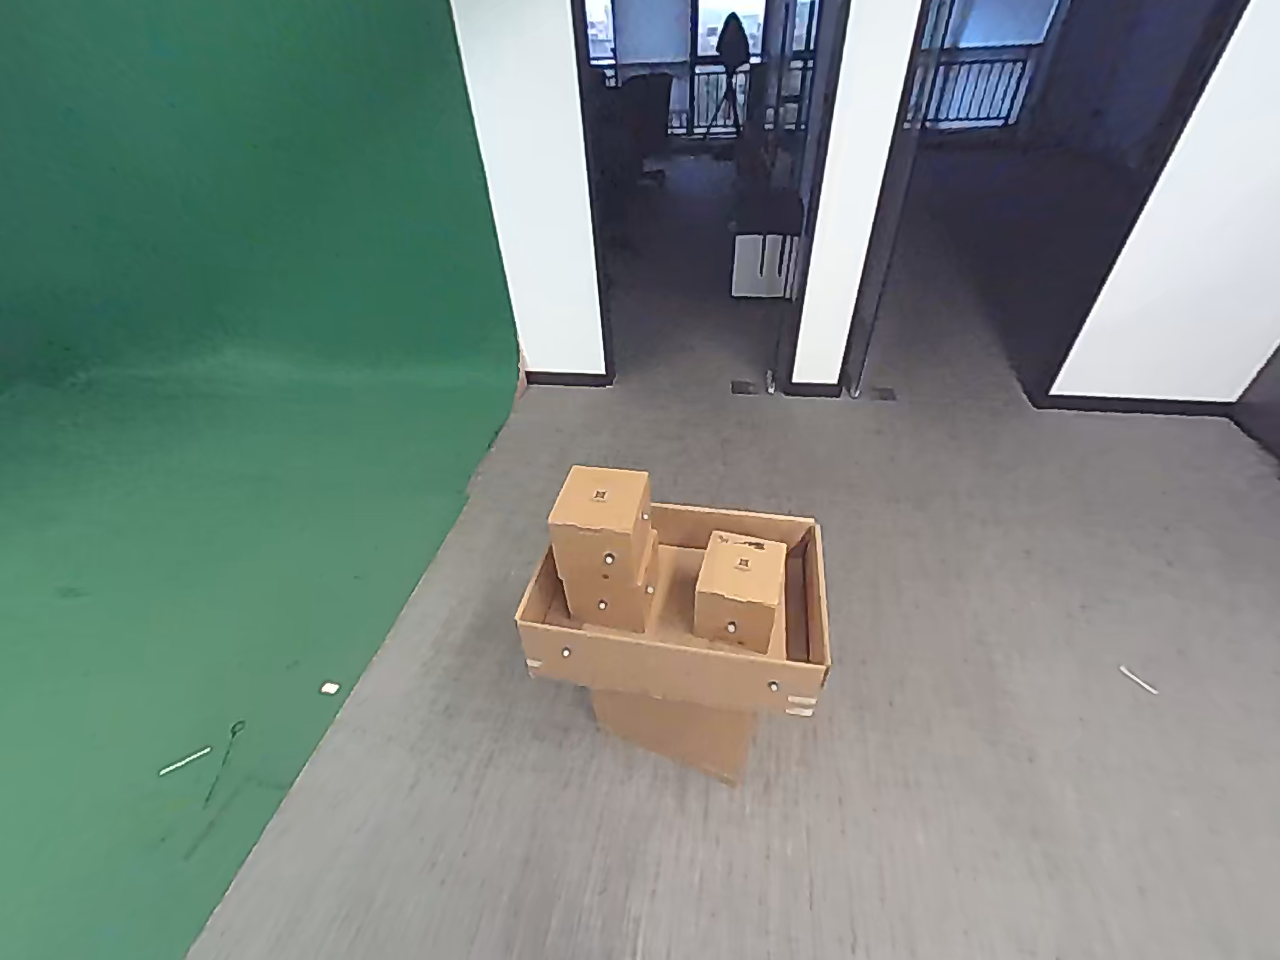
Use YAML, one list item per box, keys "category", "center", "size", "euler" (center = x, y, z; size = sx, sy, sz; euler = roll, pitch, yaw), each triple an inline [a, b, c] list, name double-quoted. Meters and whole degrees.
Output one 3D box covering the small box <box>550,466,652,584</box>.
- category: "small box"
  center: [-0.071, 0.093, 1.120]
  size: [0.168, 0.176, 0.179]
  euler: [6, 41, 11]
